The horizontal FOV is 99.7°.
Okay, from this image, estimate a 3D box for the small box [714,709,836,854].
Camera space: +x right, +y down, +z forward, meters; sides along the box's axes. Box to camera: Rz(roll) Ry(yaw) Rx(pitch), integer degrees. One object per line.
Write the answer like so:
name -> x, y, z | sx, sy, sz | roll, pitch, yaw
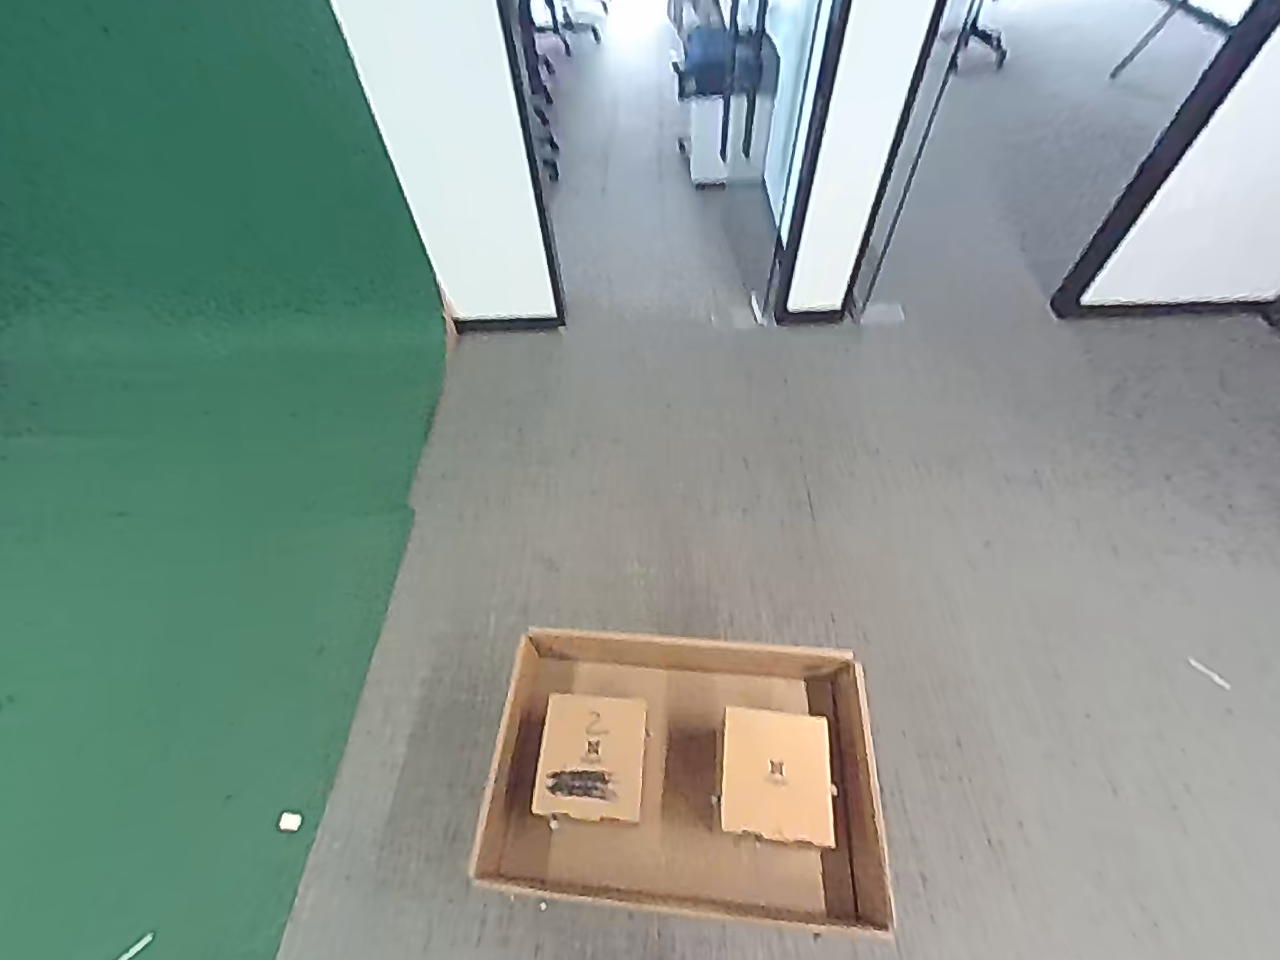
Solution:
small box -> 0.213, 0.500, 0.894 | 0.168, 0.176, 0.179 | 5, 55, 6
